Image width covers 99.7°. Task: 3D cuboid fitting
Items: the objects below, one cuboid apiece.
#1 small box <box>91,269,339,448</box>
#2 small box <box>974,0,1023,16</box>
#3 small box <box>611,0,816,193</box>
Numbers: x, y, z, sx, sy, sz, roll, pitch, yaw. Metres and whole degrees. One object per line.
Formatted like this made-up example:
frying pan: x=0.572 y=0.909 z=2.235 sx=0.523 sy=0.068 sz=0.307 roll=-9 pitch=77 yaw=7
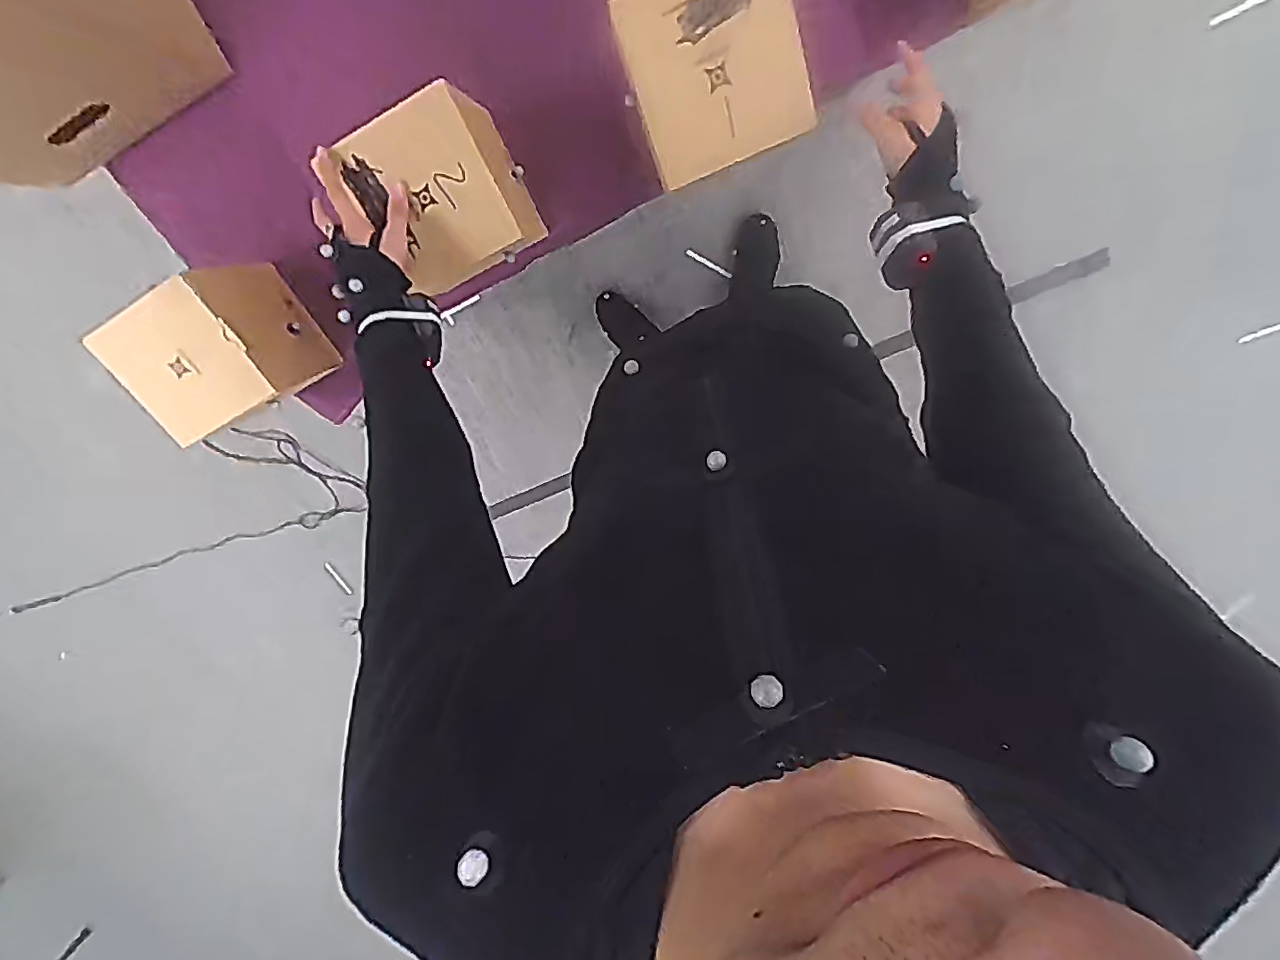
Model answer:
small box: x=-0.572 y=-0.175 z=0.756 sx=0.179 sy=0.176 sz=0.168 roll=-26 pitch=112 yaw=12
small box: x=0.434 y=-0.605 z=0.518 sx=0.168 sy=0.176 sz=0.179 roll=-18 pitch=113 yaw=11
small box: x=0.077 y=-0.445 z=0.607 sx=0.168 sy=0.176 sz=0.179 roll=-19 pitch=114 yaw=11
